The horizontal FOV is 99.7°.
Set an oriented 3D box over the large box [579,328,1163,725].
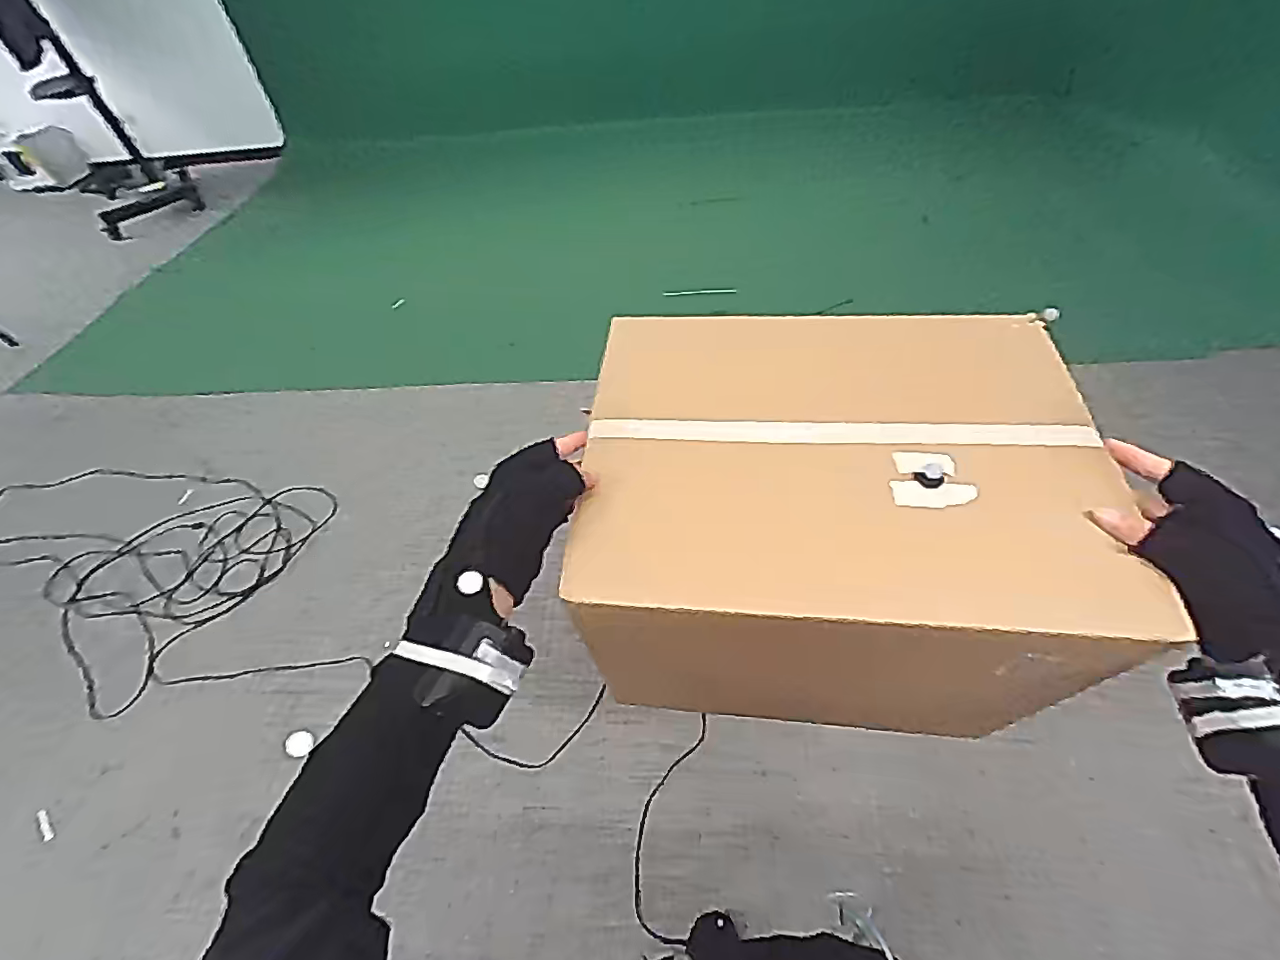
[{"bbox_3d":[0.172,0.056,0.582,0.408,0.320,0.320,2,55,7],"label":"large box"}]
